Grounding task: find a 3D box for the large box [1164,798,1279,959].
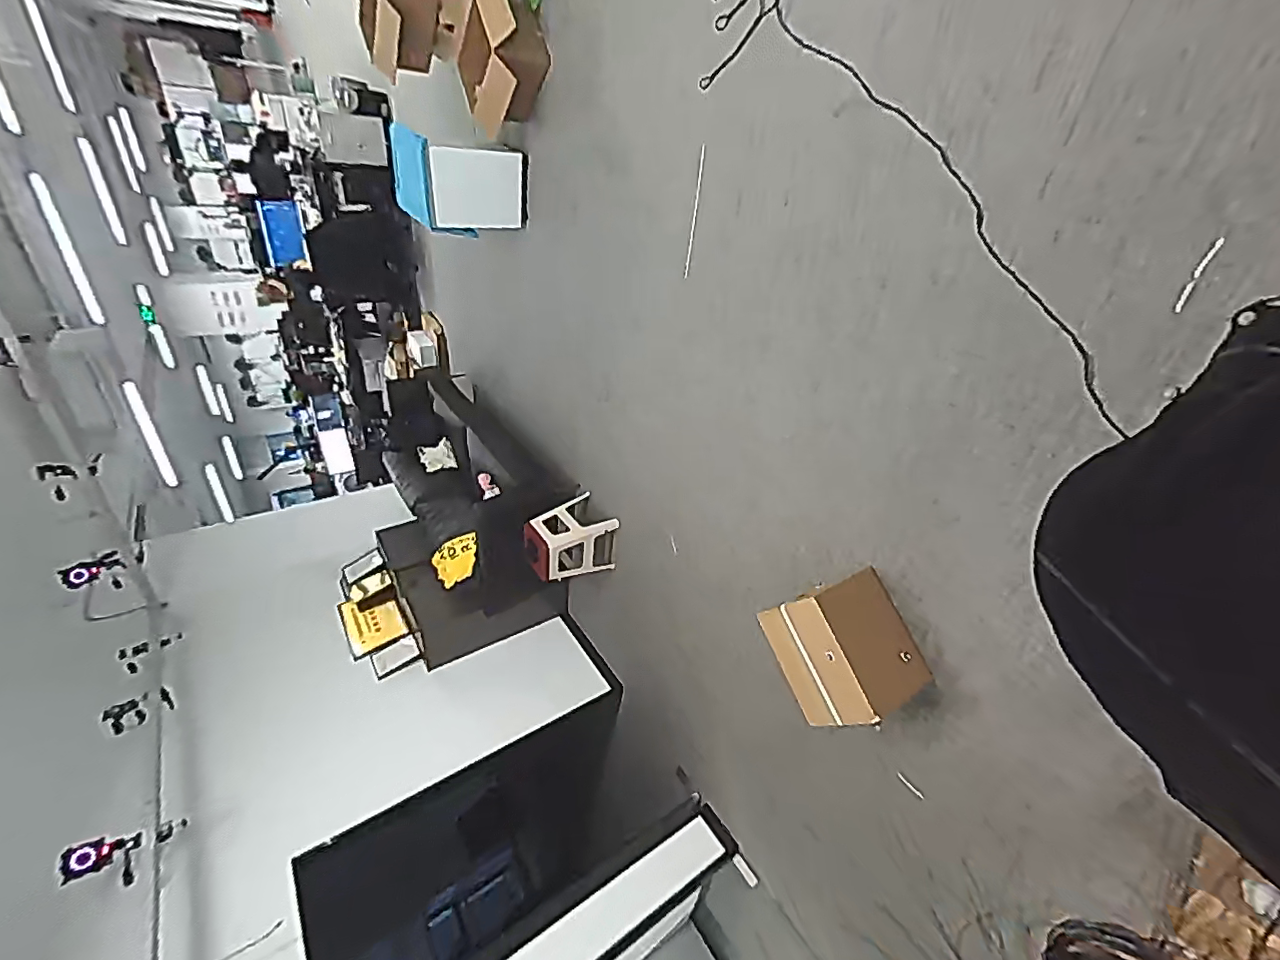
[{"bbox_3d":[1.331,0.928,1.027,0.408,0.320,0.320,25,126,49],"label":"large box"}]
